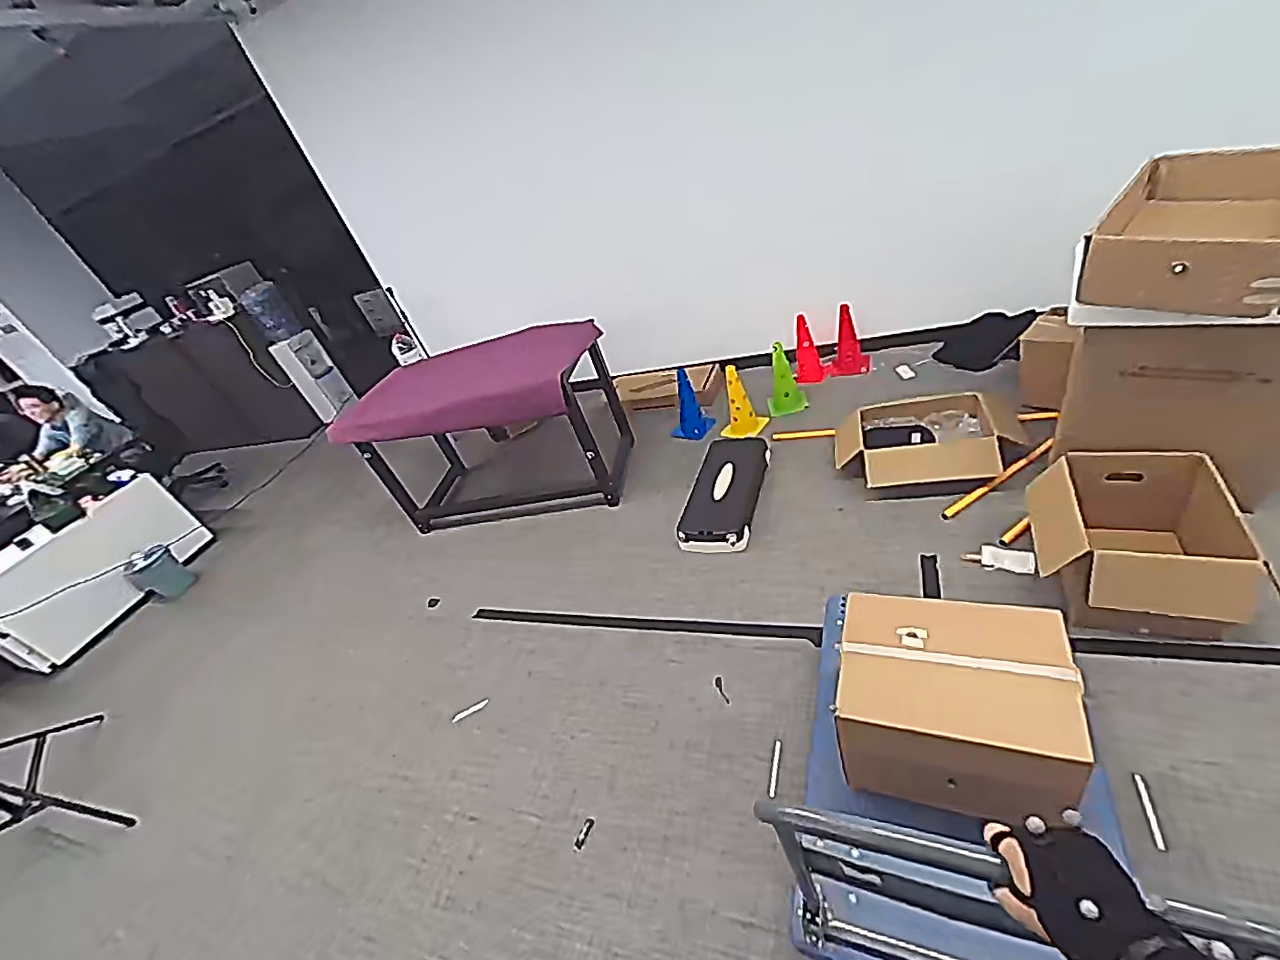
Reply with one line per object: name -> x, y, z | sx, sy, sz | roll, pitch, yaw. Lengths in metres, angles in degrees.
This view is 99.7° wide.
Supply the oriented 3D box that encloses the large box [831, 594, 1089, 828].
large box -> 0.646, 0.469, 1.145 | 0.408, 0.320, 0.320 | -1, 38, 28
